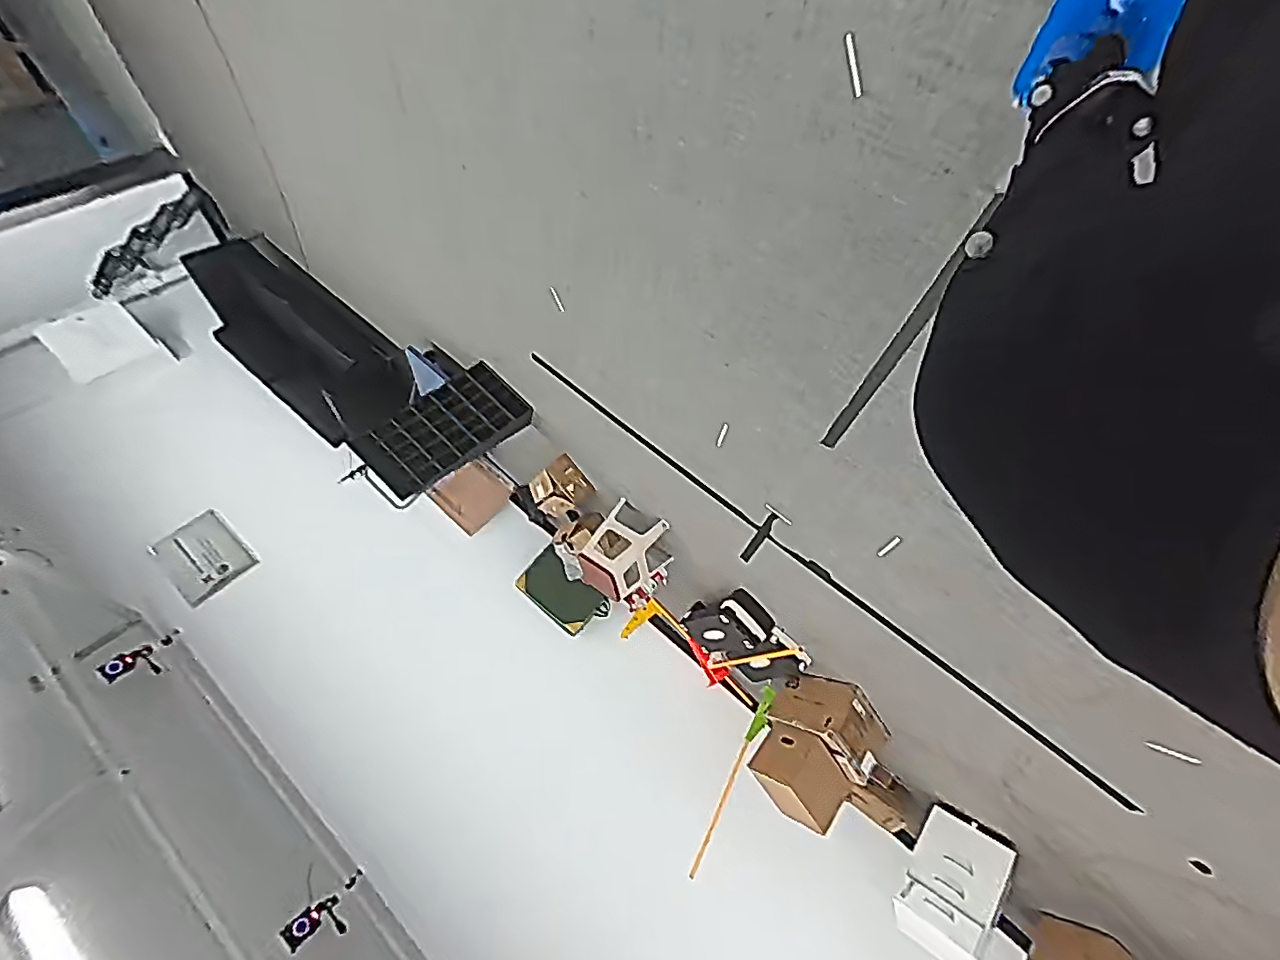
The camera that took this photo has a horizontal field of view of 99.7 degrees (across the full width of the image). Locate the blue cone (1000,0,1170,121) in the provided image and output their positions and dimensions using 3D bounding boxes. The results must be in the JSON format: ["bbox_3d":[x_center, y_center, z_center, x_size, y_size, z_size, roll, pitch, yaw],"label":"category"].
[{"bbox_3d":[0.690,-0.677,0.895,0.192,0.380,0.193,38,150,19],"label":"blue cone"}]
